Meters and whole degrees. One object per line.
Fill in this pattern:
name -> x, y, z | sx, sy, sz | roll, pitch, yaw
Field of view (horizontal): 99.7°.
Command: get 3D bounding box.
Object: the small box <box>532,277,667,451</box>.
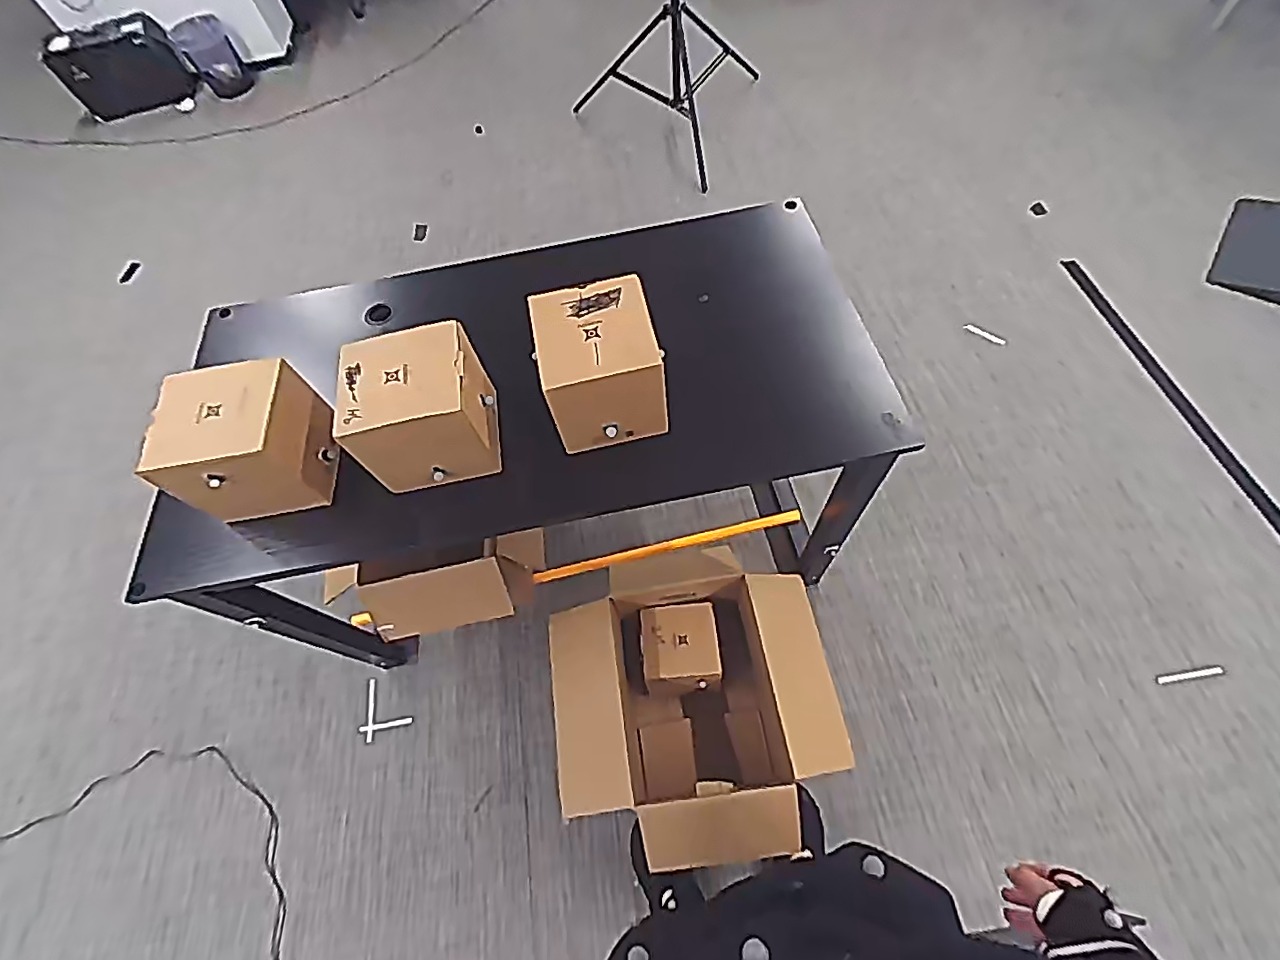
small box -> -0.058, -0.170, 0.818 | 0.168, 0.176, 0.179 | -13, 62, -1

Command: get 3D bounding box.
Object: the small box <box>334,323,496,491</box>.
small box -> -0.321, -0.103, 0.808 | 0.179, 0.176, 0.168 | -12, 61, -2

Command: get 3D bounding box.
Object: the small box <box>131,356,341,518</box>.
small box -> -0.581, -0.056, 0.807 | 0.179, 0.176, 0.168 | -10, 62, -1
